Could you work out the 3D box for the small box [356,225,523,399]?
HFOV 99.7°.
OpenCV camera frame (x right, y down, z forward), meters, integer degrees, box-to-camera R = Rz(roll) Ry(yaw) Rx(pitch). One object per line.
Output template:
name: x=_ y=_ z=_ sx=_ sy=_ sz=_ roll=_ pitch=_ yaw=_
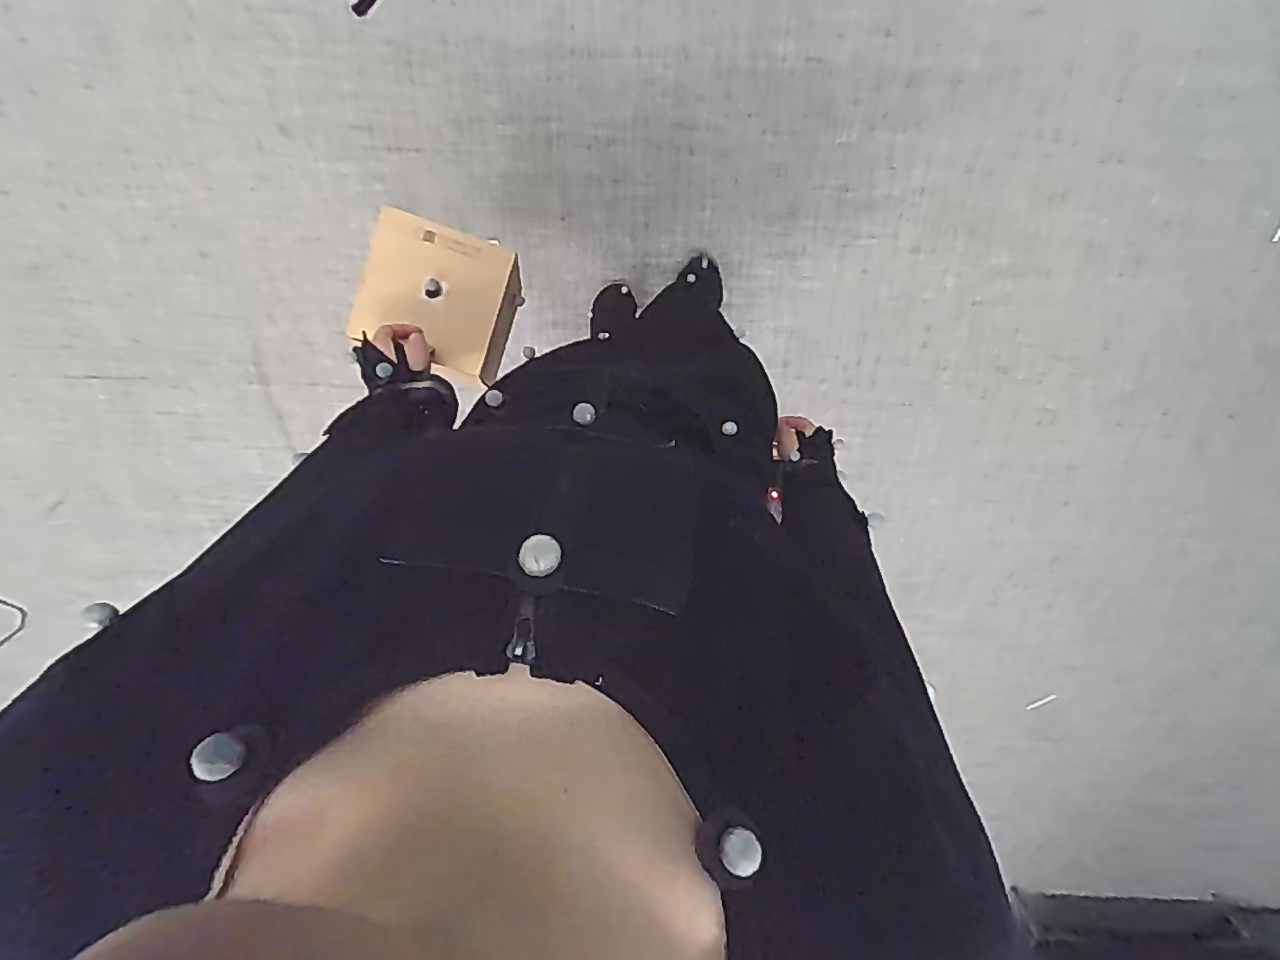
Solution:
small box: x=-0.267 y=-0.226 z=0.758 sx=0.168 sy=0.179 sz=0.176 roll=15 pitch=89 yaw=-10
